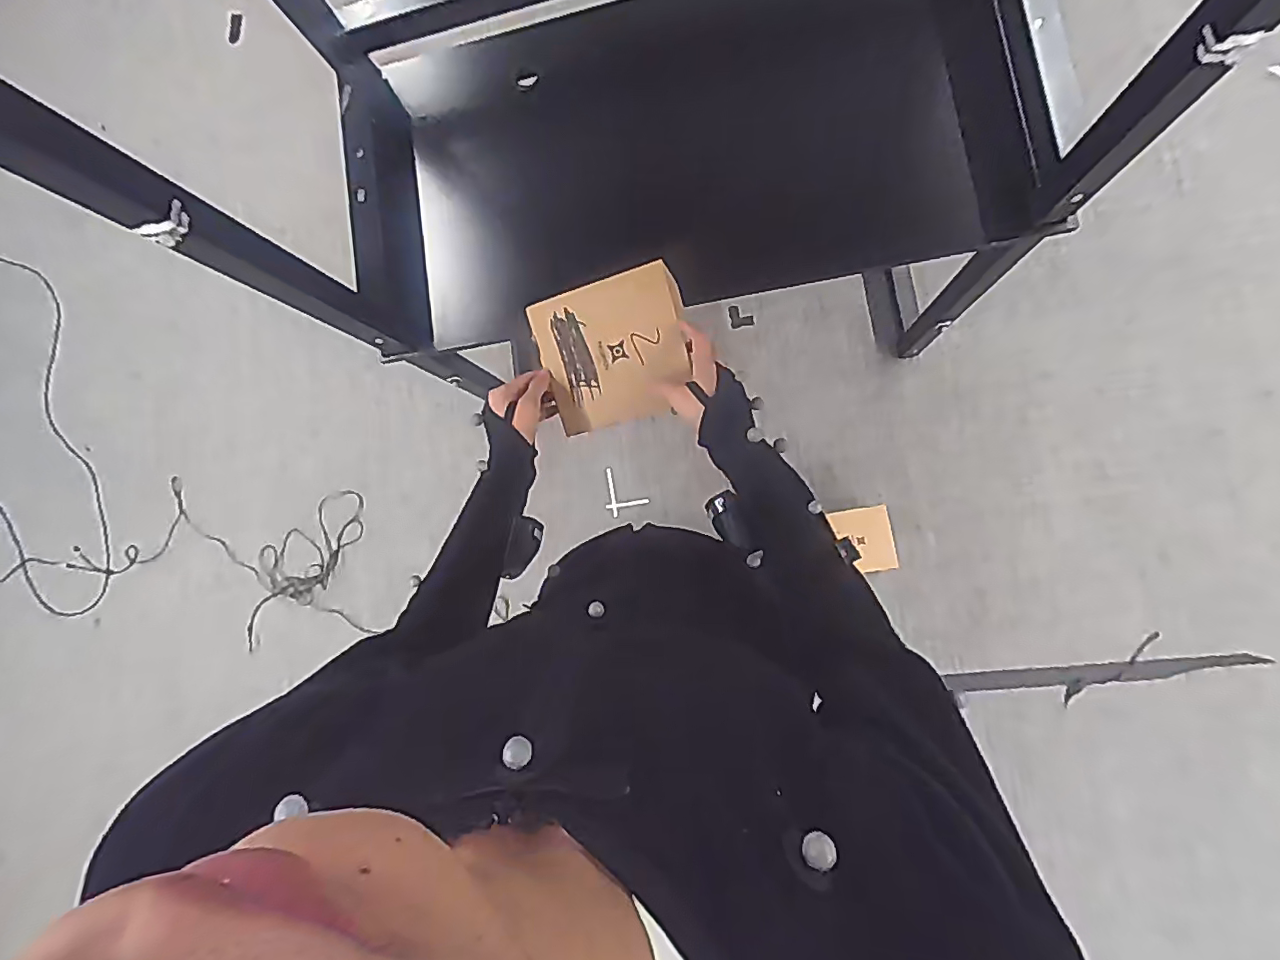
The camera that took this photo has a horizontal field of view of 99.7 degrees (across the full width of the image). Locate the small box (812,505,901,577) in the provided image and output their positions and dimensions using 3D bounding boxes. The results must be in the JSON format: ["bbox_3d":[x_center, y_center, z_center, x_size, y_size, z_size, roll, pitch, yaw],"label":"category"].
[{"bbox_3d":[0.580,0.162,1.468,0.179,0.176,0.168,-10,84,10],"label":"small box"}]
